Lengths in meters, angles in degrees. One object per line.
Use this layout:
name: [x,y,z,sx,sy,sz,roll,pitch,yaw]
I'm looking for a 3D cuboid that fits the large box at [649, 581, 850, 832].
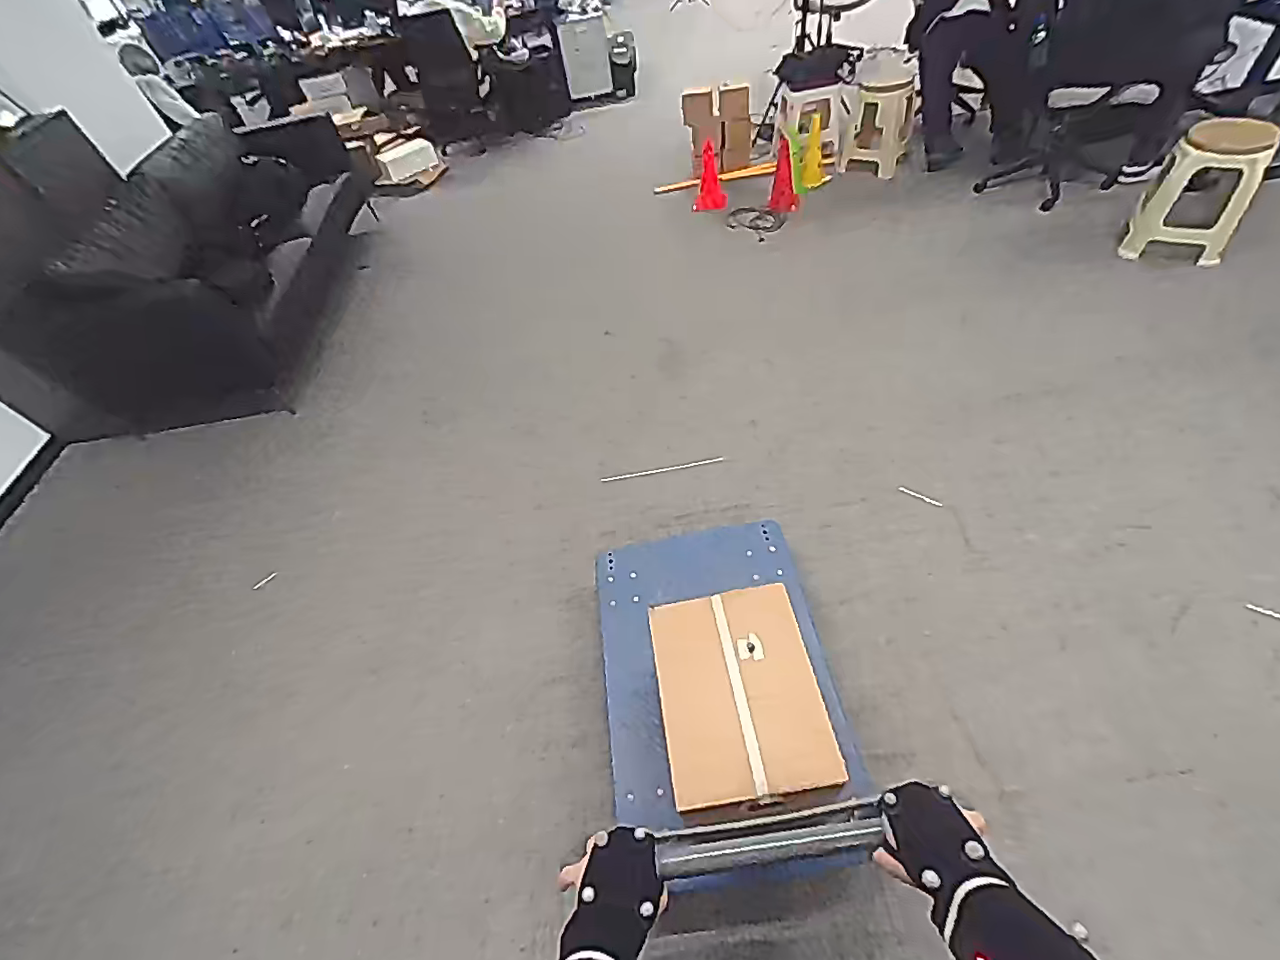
large box: [0.222,0.498,1.192,0.320,0.320,0.408,-11,49,2]
